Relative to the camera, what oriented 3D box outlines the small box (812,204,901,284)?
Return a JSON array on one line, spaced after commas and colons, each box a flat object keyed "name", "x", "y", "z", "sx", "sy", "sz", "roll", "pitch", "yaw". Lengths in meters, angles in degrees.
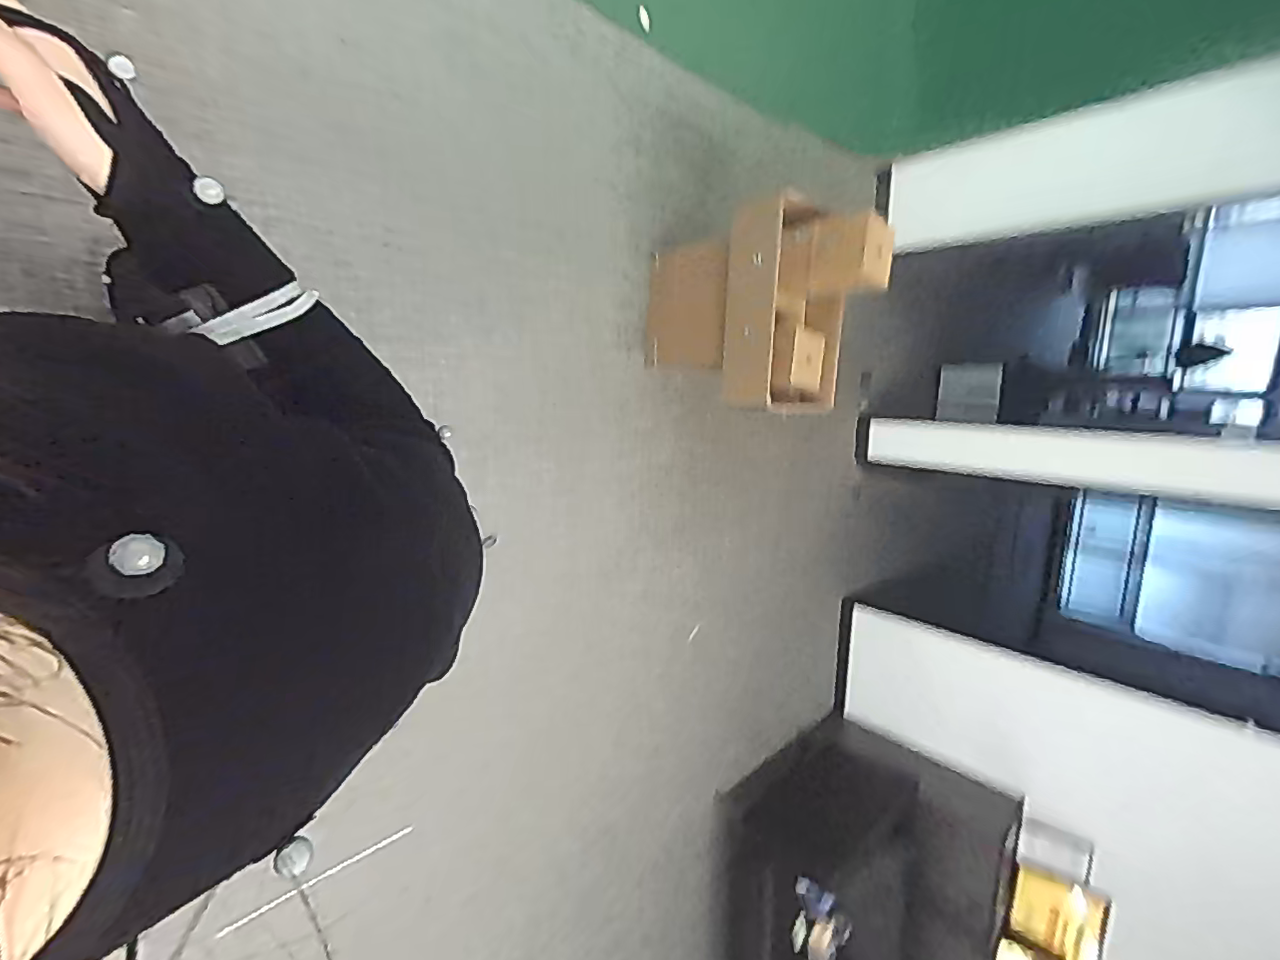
[{"name": "small box", "x": 0.627, "y": -0.674, "z": 1.570, "sx": 0.179, "sy": 0.176, "sz": 0.168, "roll": 0, "pitch": 99, "yaw": -43}]
